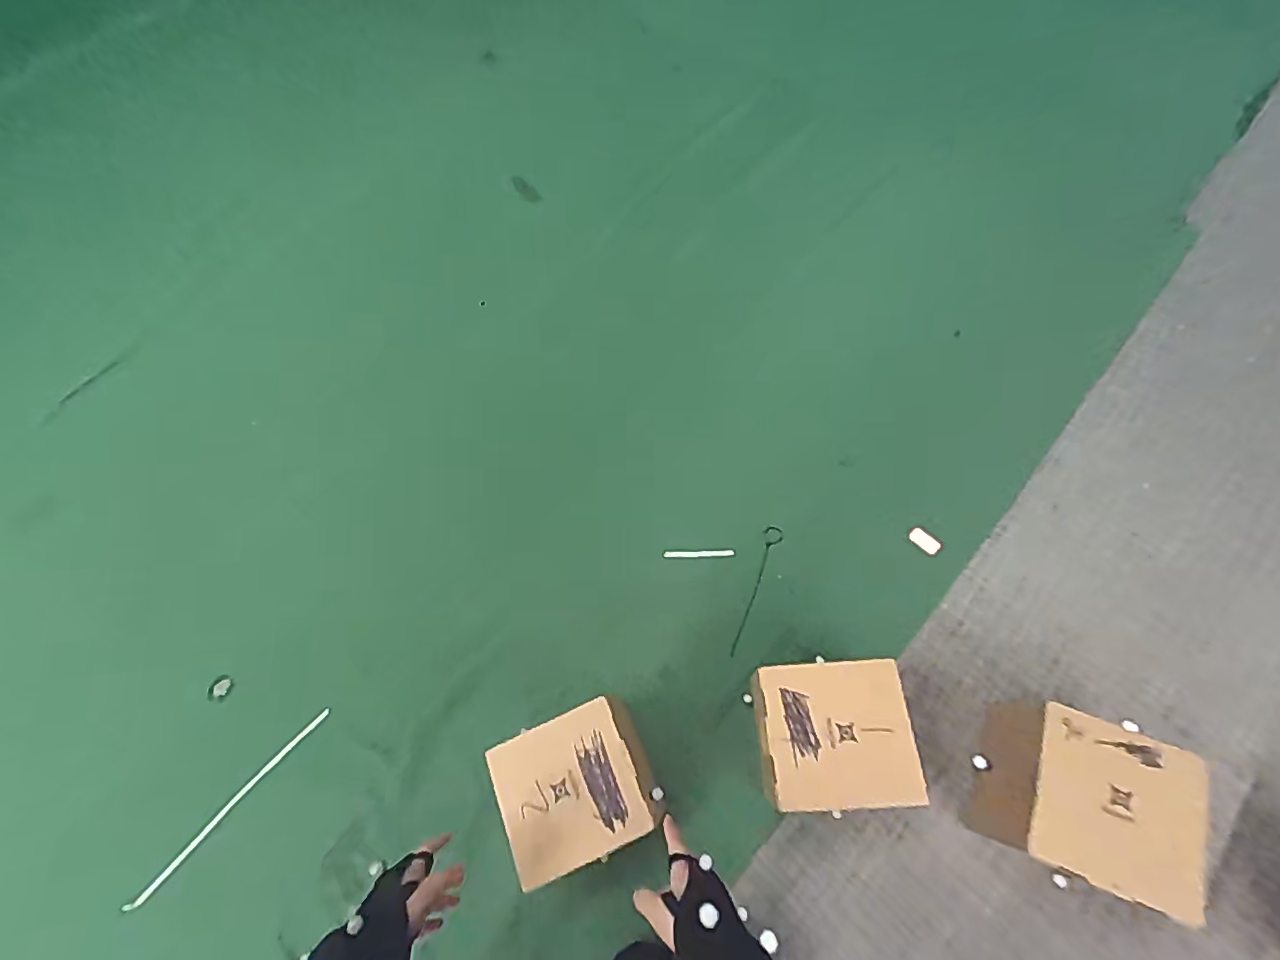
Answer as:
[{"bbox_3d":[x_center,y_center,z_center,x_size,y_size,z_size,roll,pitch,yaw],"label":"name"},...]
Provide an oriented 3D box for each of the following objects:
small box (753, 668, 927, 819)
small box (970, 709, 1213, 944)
[{"bbox_3d":[0.251,0.353,0.732,0.179,0.176,0.168,-5,65,4],"label":"small box"},{"bbox_3d":[0.540,0.406,0.670,0.168,0.176,0.179,20,70,16],"label":"small box"}]
